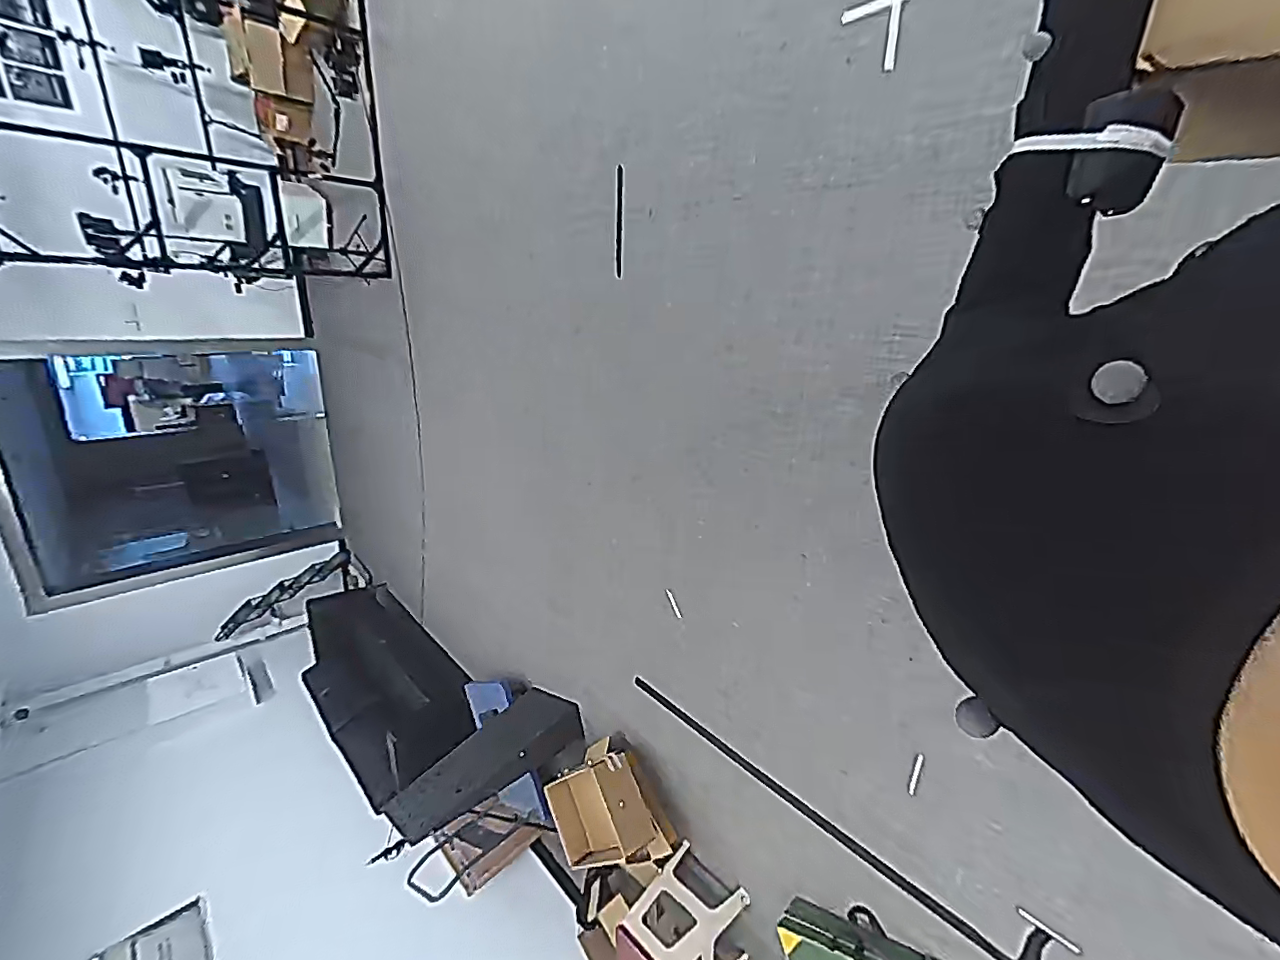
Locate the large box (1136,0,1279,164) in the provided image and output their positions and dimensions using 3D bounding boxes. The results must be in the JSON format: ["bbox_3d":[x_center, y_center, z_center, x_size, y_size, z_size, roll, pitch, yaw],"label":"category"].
[{"bbox_3d":[0.576,-0.387,0.286,0.408,0.320,0.320,21,117,39],"label":"large box"}]
